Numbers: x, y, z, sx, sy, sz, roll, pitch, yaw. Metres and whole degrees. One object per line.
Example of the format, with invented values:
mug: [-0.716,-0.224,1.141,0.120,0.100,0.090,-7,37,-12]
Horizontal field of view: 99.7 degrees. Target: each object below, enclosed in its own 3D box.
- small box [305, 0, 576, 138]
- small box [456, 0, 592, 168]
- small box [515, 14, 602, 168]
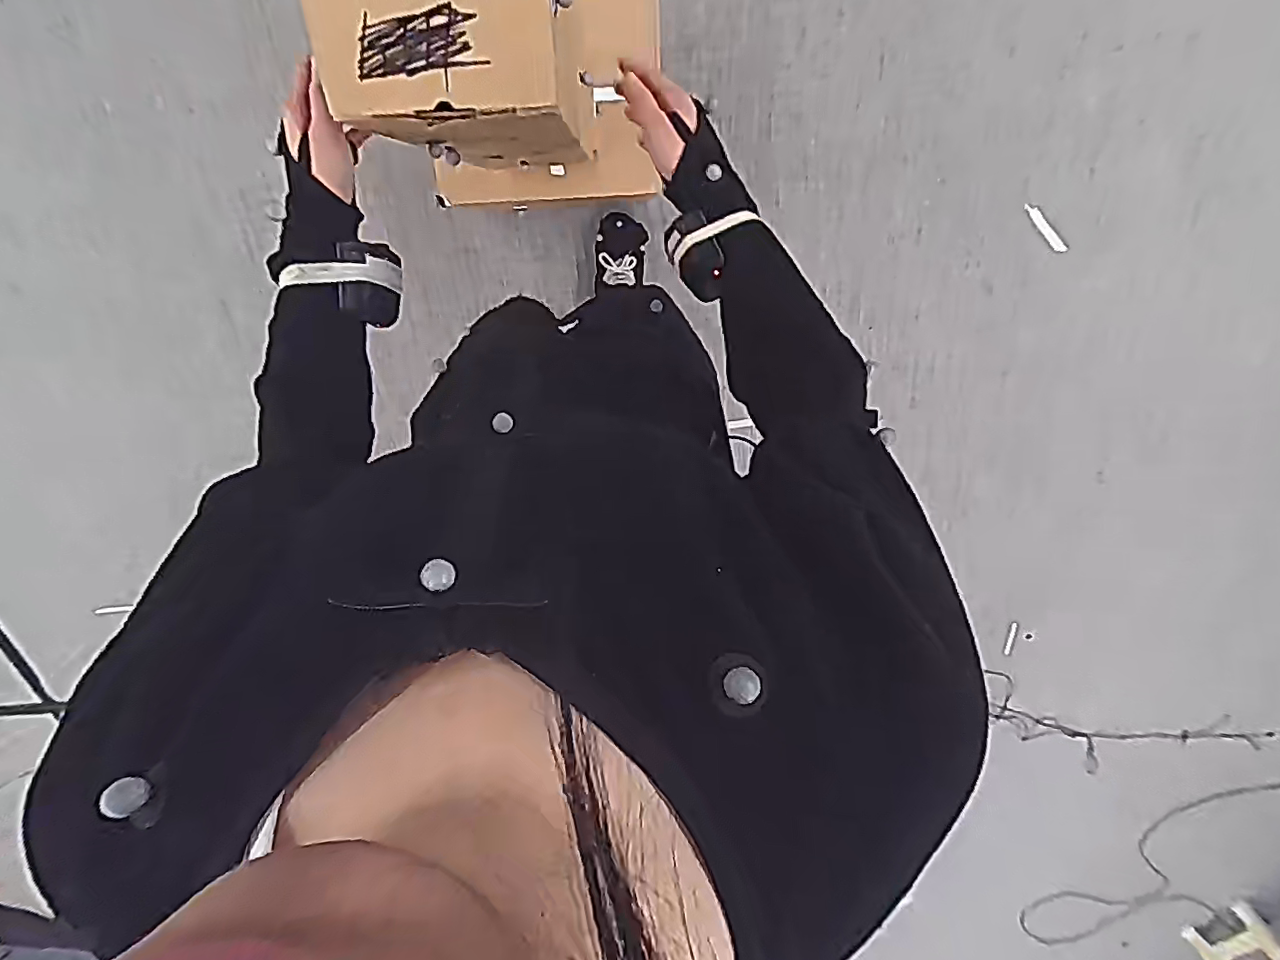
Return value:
small box: [-0.143,-0.375,0.421,0.168,0.176,0.179,-3,116,-1]
small box: [-0.155,-0.523,0.714,0.168,0.176,0.179,-5,117,0]
small box: [-0.157,-0.601,0.856,0.179,0.176,0.168,-6,117,0]
